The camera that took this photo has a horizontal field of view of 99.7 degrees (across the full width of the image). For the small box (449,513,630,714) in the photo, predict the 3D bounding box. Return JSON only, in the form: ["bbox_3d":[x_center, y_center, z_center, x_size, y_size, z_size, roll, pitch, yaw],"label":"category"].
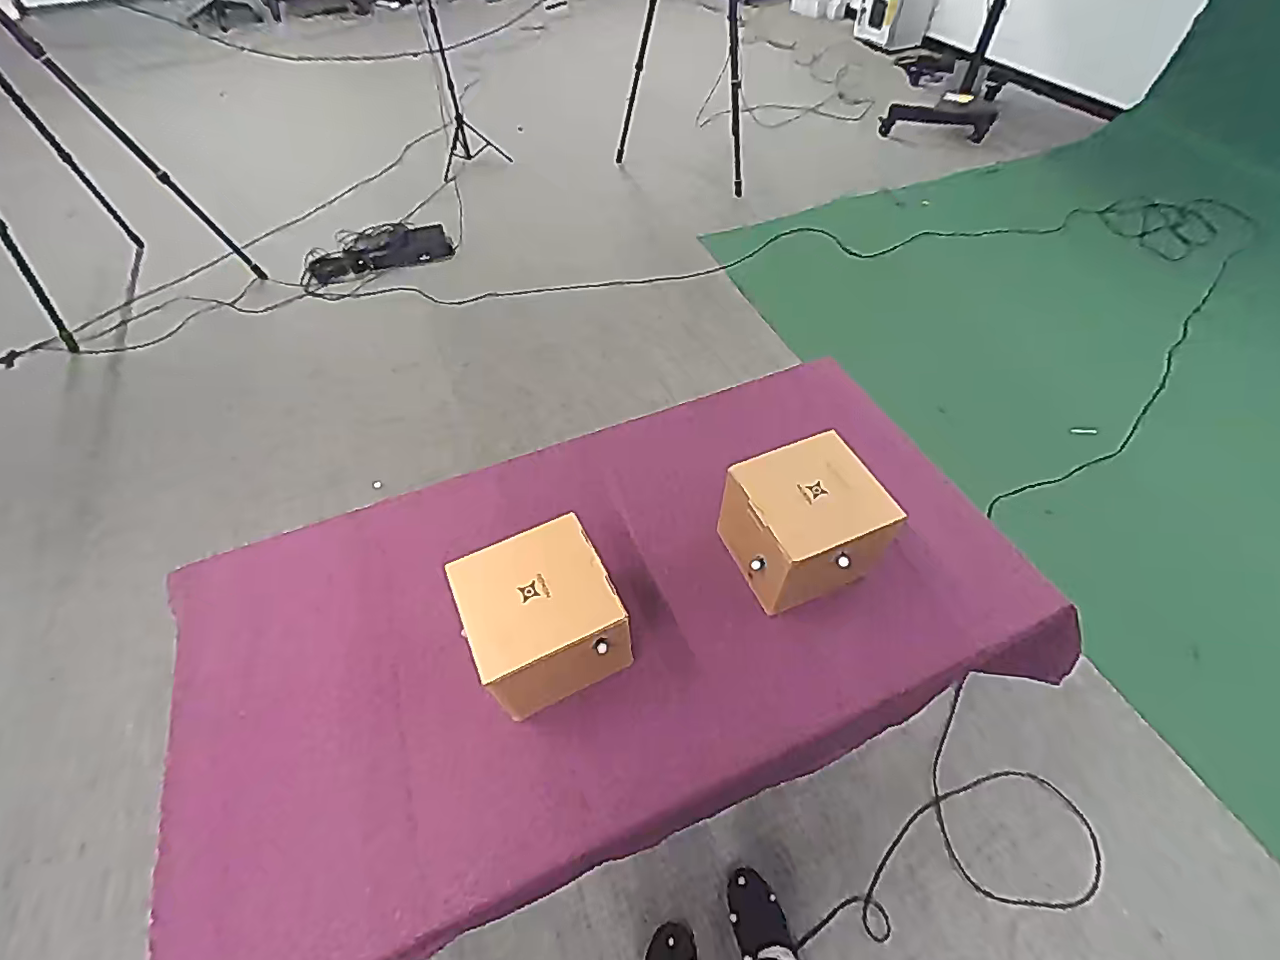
[{"bbox_3d":[-0.124,0.180,0.713,0.179,0.176,0.168,-23,56,-16],"label":"small box"}]

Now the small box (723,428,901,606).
[{"bbox_3d":[0.232,0.059,0.788,0.179,0.176,0.168,-19,56,-12],"label":"small box"}]
